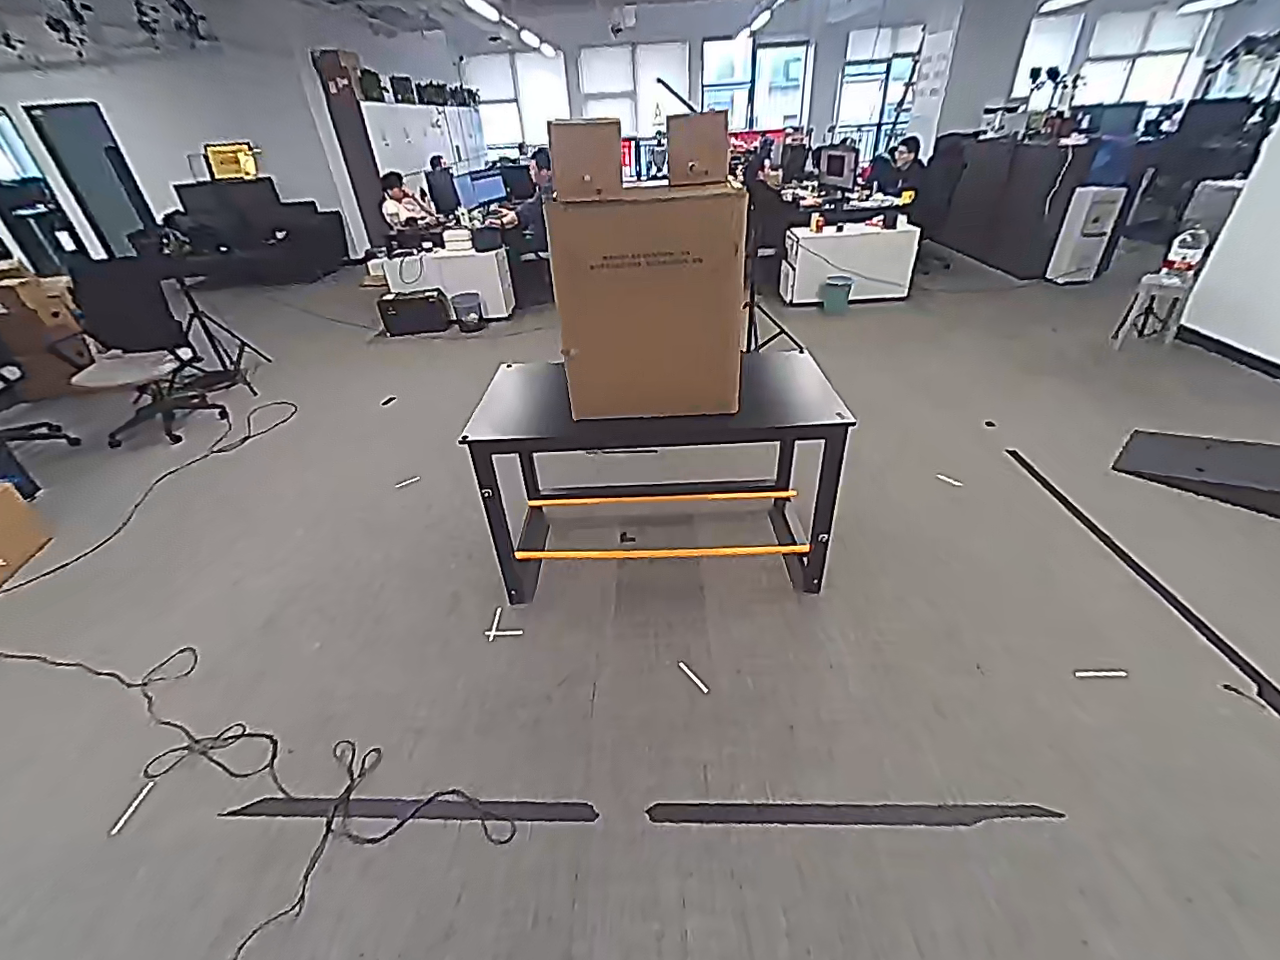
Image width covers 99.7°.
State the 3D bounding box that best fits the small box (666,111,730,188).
[{"bbox_3d":[0.161,-0.922,1.514,0.168,0.176,0.179,-3,33,5],"label":"small box"}]
